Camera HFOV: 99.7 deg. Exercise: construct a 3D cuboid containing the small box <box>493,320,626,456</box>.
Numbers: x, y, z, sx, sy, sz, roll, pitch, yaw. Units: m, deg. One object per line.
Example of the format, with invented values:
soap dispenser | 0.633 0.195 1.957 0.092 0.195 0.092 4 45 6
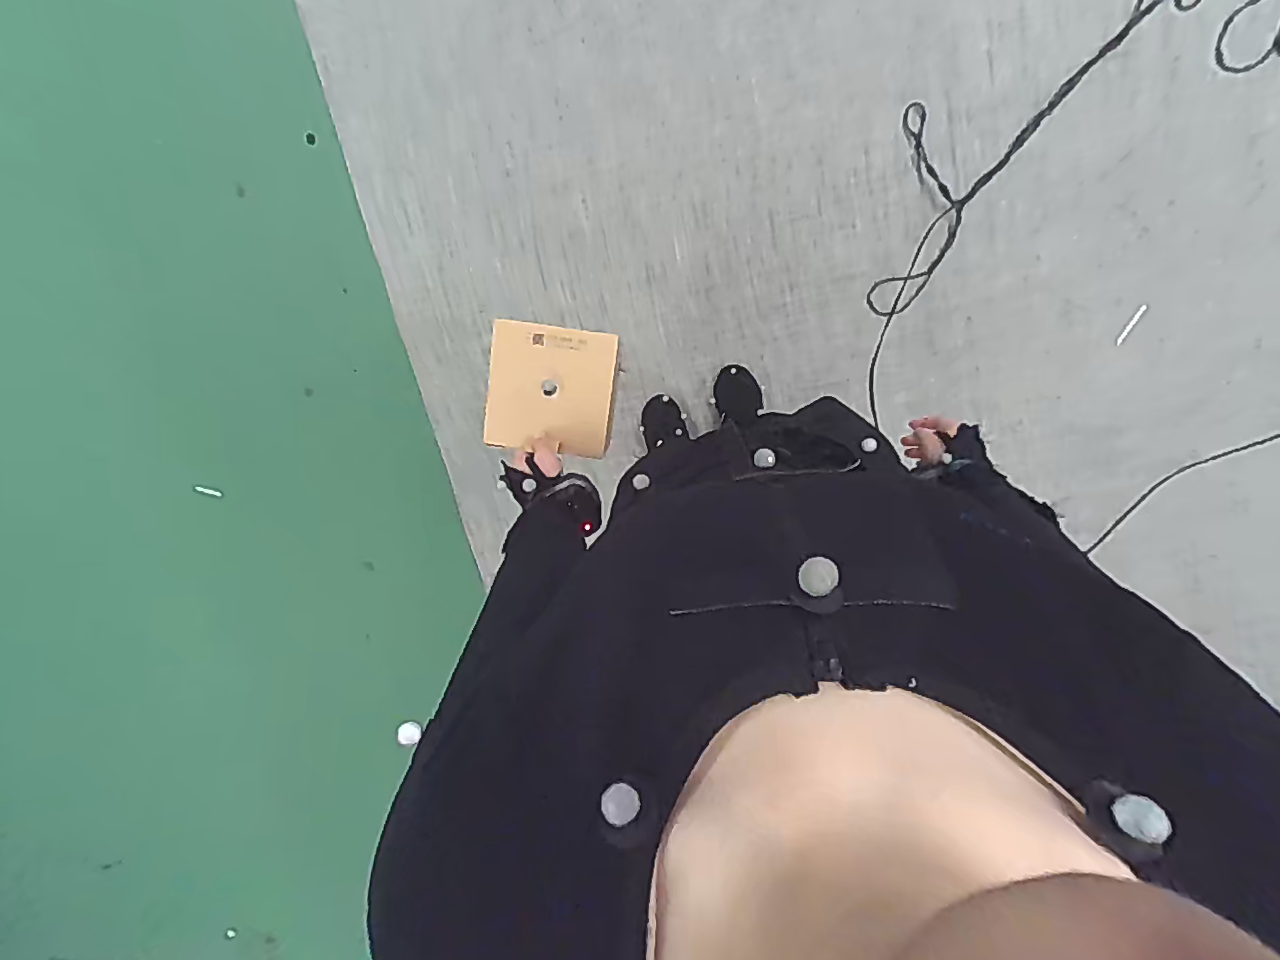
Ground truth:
small box | -0.112 -0.138 0.798 0.168 0.179 0.176 7 102 -1
